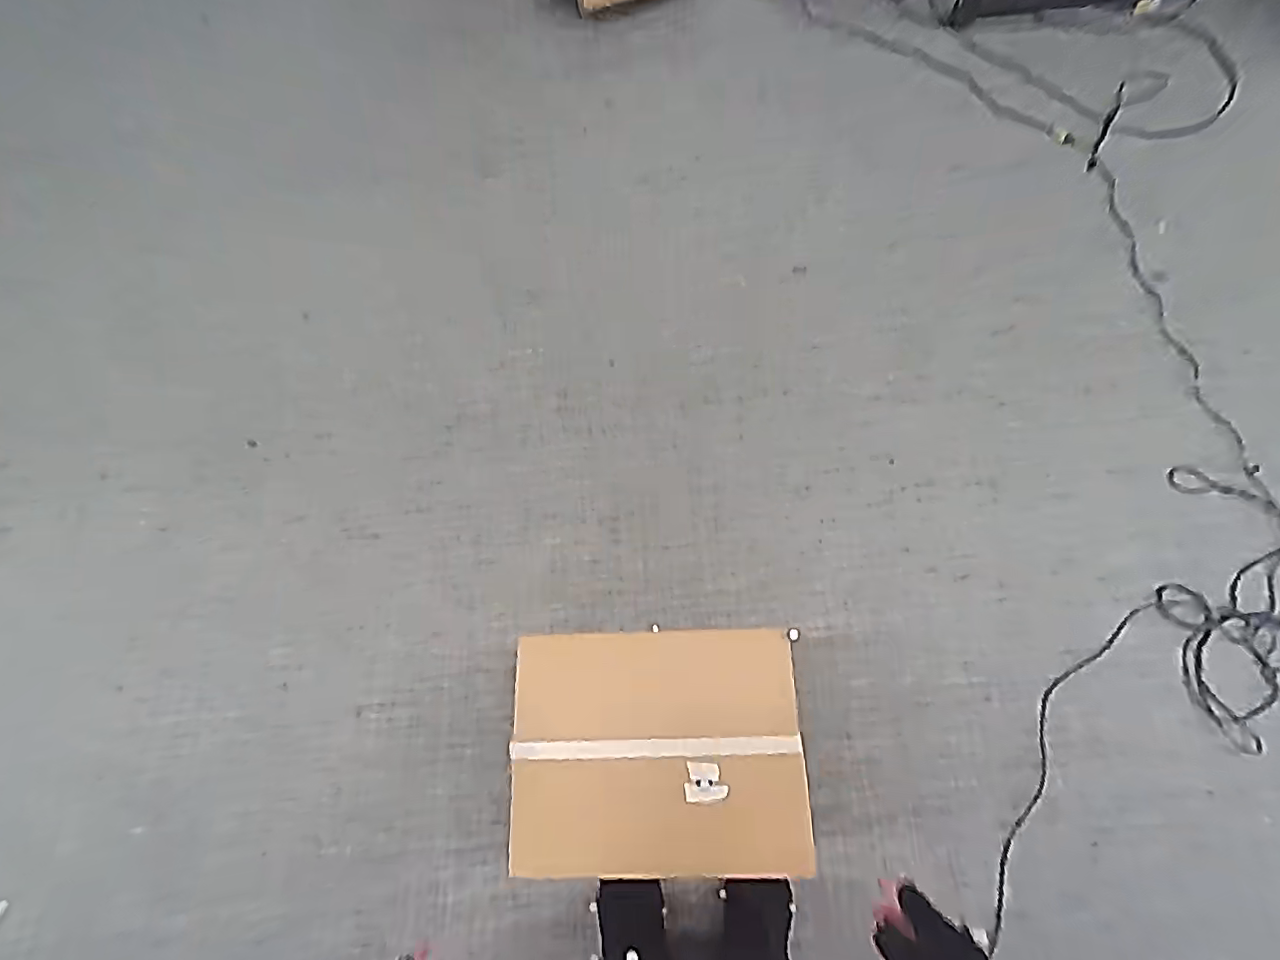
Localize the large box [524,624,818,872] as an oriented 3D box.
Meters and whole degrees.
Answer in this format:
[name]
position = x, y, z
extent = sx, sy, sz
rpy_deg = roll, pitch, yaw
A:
[large box]
position = 0.042, 0.424, 0.909
extent = 0.408, 0.320, 0.320
rpy_deg = -3, 71, 3
